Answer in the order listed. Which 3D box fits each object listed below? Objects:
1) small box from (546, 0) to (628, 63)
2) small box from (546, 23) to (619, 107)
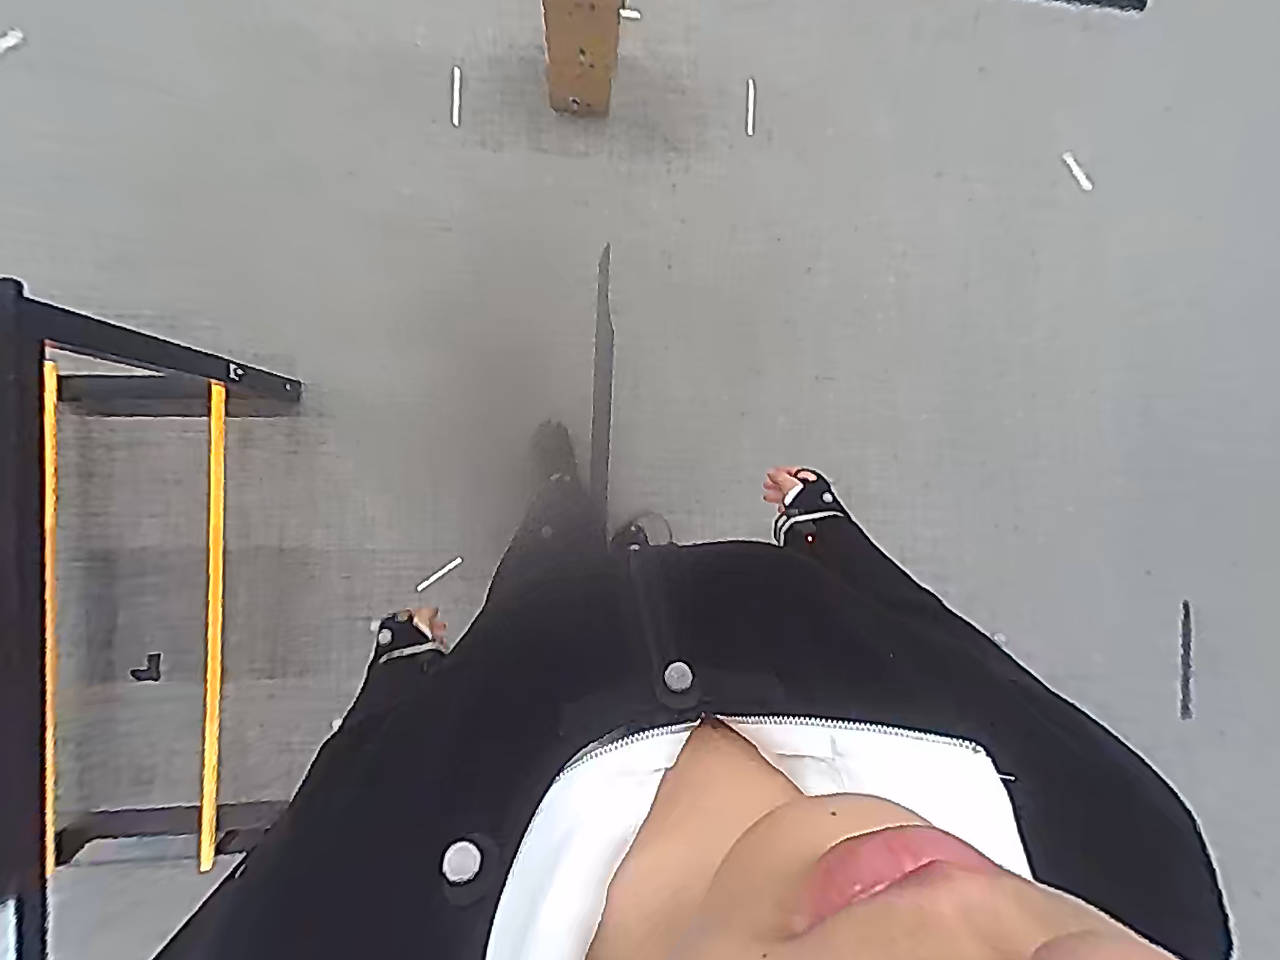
[{"bbox_3d":[-0.111,-1.035,1.137,0.168,0.176,0.179,1,91,-5],"label":"small box"},{"bbox_3d":[-0.136,-1.046,1.301,0.168,0.176,0.179,1,92,-5],"label":"small box"}]
